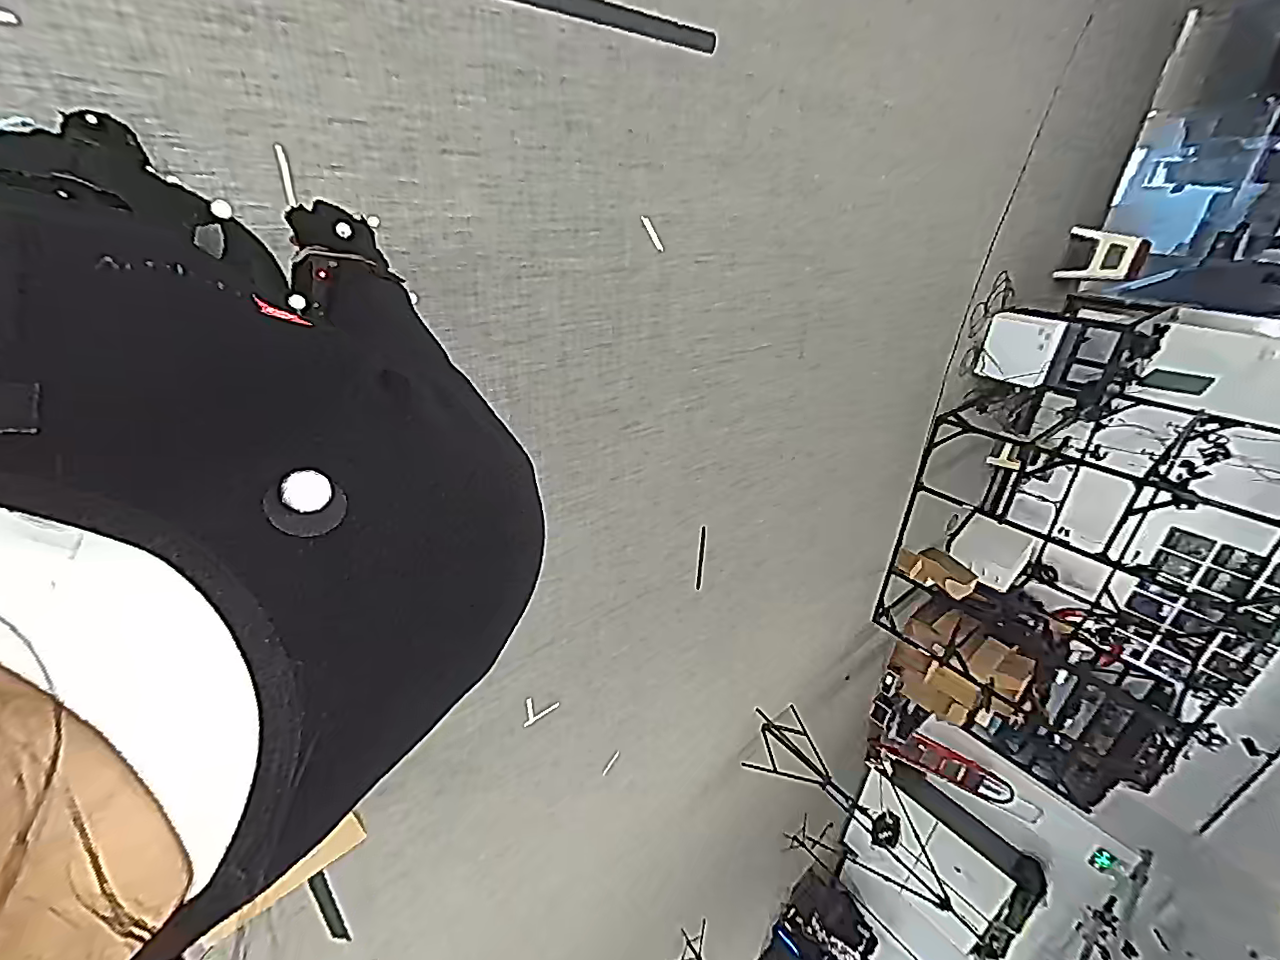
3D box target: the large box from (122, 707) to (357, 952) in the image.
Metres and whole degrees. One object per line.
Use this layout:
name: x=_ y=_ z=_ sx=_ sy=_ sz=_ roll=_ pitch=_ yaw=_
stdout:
large box: x=-1.067 y=0.917 z=1.462 sx=0.408 sy=0.320 sz=0.320 roll=-28 pitch=131 yaw=-32
